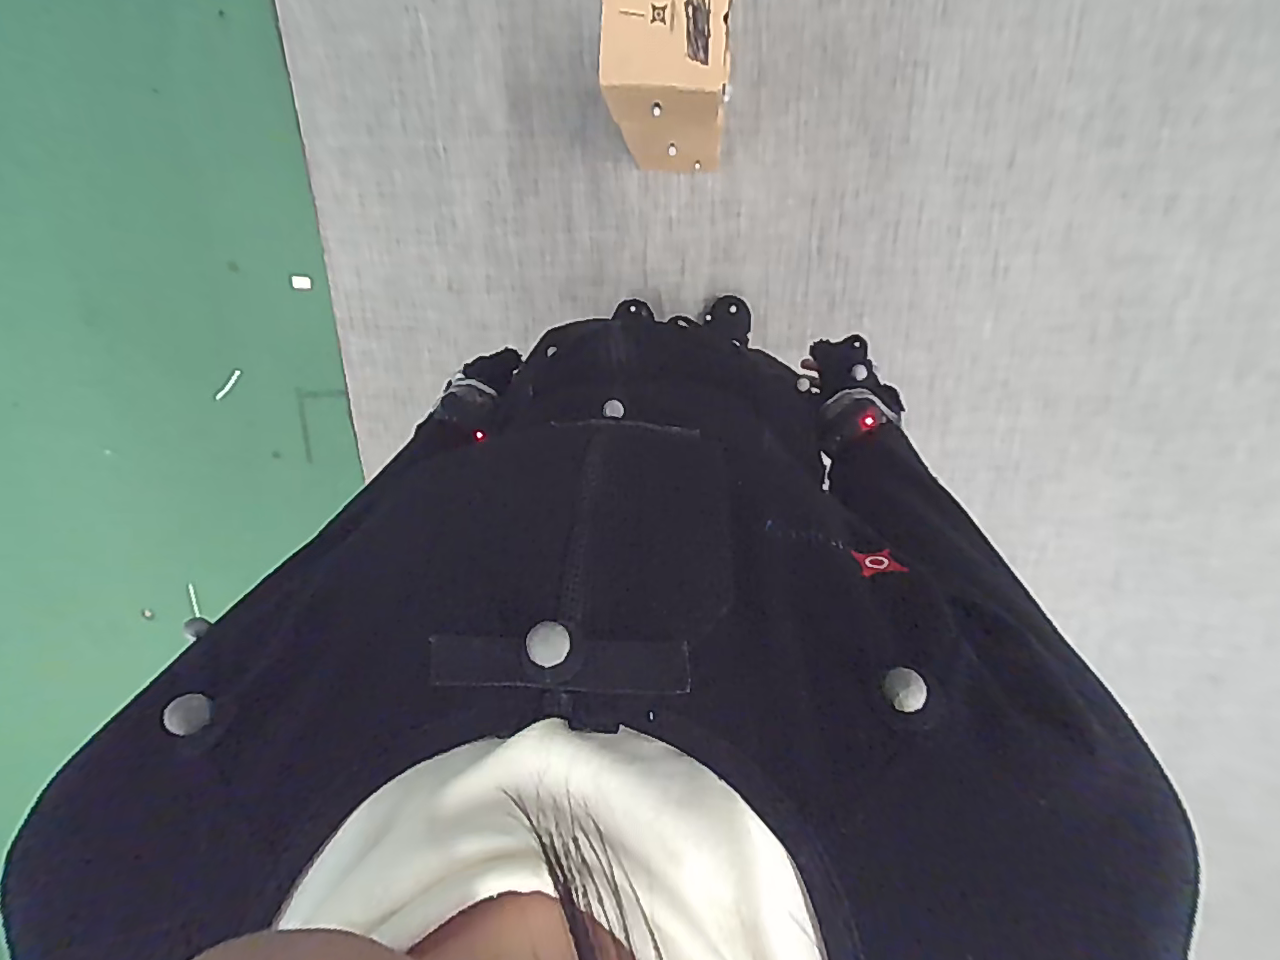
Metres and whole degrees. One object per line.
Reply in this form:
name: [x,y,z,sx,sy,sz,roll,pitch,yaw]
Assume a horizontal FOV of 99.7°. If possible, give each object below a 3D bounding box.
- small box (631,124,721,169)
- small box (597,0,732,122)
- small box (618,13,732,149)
small box: [0.079,-0.753,1.114,0.179,0.176,0.168,3,108,6]
small box: [0.041,-0.653,0.804,0.179,0.176,0.168,7,109,5]
small box: [0.060,-0.704,0.959,0.179,0.176,0.168,5,109,3]
